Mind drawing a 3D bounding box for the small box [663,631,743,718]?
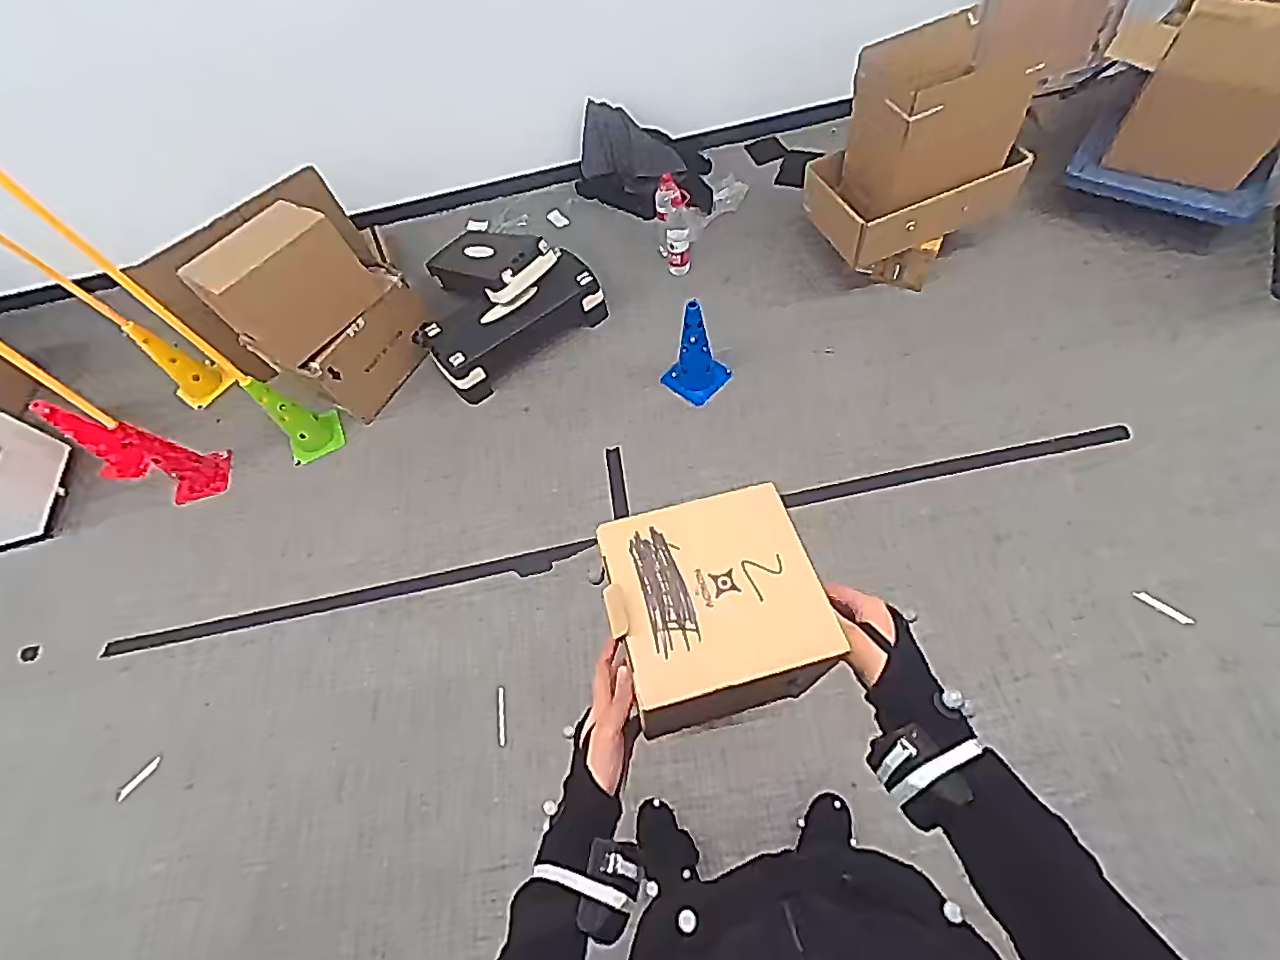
[{"bbox_3d":[0.167,0.517,1.419,0.168,0.176,0.179,-15,61,0],"label":"small box"}]
